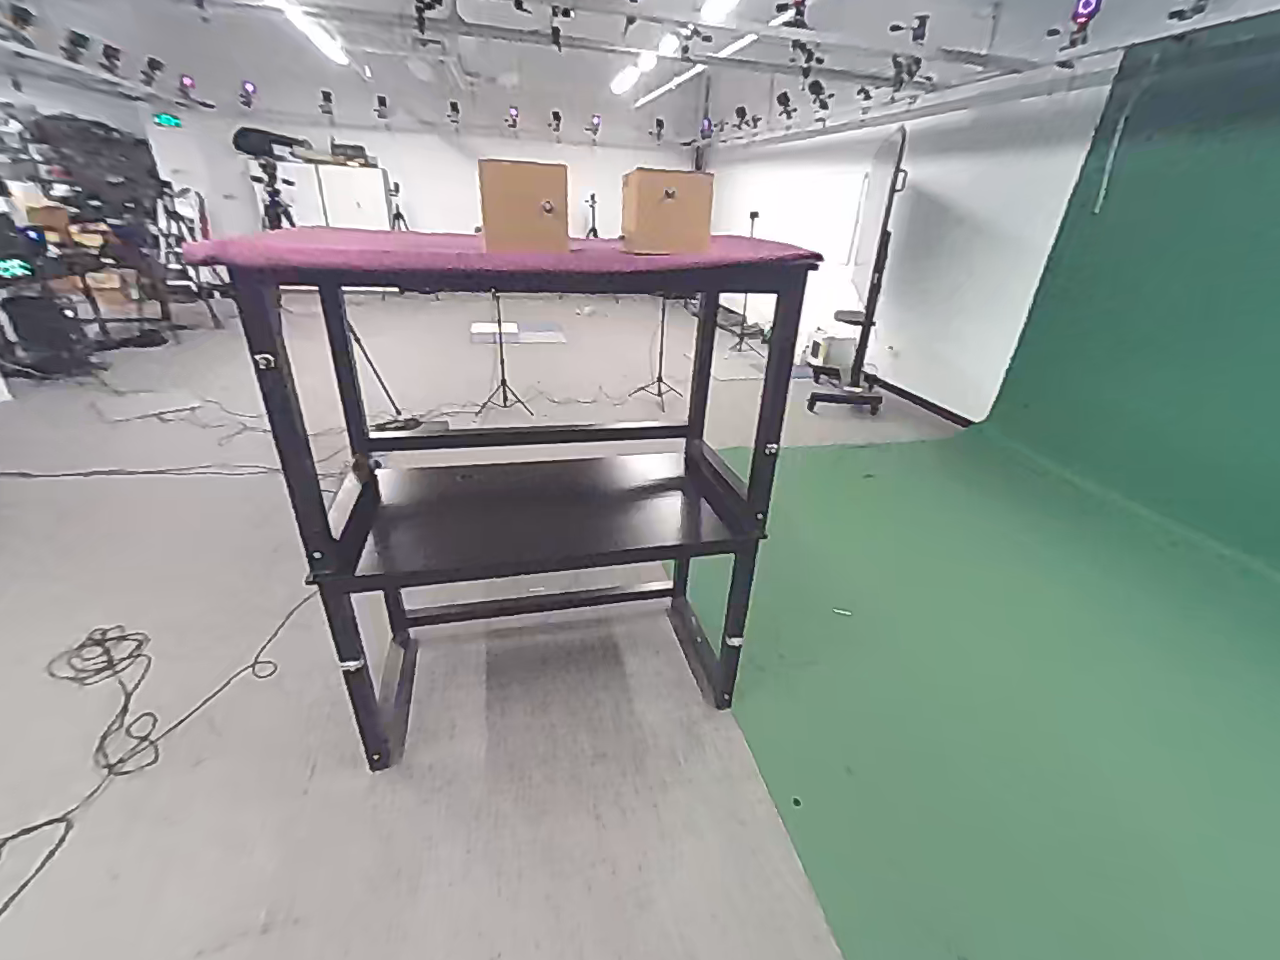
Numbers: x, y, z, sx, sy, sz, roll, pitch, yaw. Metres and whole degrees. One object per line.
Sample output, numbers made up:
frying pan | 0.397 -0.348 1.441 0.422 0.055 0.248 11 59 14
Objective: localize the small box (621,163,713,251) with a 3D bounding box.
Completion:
small box | 0.056 -0.620 1.241 0.179 0.176 0.168 -4 26 -12

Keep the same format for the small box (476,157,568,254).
small box | -0.250 -0.580 1.145 0.179 0.176 0.168 -6 28 -14
